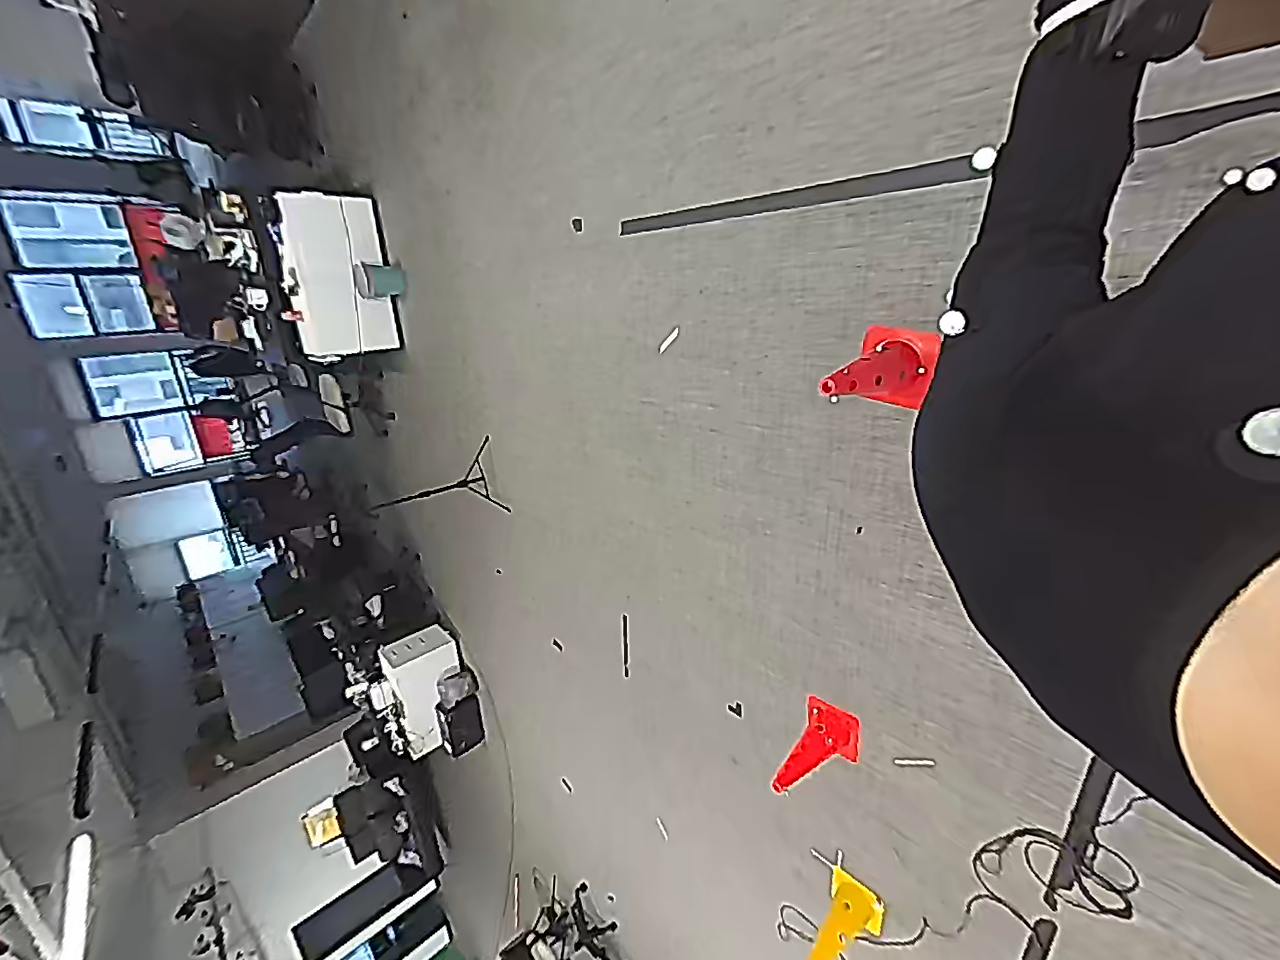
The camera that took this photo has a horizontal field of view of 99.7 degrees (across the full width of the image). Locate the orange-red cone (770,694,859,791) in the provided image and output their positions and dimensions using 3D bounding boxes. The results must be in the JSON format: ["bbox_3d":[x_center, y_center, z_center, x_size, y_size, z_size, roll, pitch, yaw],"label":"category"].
[{"bbox_3d":[0.566,0.935,1.841,0.198,0.360,0.199,16,118,47],"label":"orange-red cone"}]

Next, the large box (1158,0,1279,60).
[{"bbox_3d":[0.557,-0.469,0.254,0.408,0.320,0.320,17,122,45],"label":"large box"}]

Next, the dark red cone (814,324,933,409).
[{"bbox_3d":[0.544,-0.262,1.334,0.201,0.394,0.202,25,123,41],"label":"dark red cone"}]
